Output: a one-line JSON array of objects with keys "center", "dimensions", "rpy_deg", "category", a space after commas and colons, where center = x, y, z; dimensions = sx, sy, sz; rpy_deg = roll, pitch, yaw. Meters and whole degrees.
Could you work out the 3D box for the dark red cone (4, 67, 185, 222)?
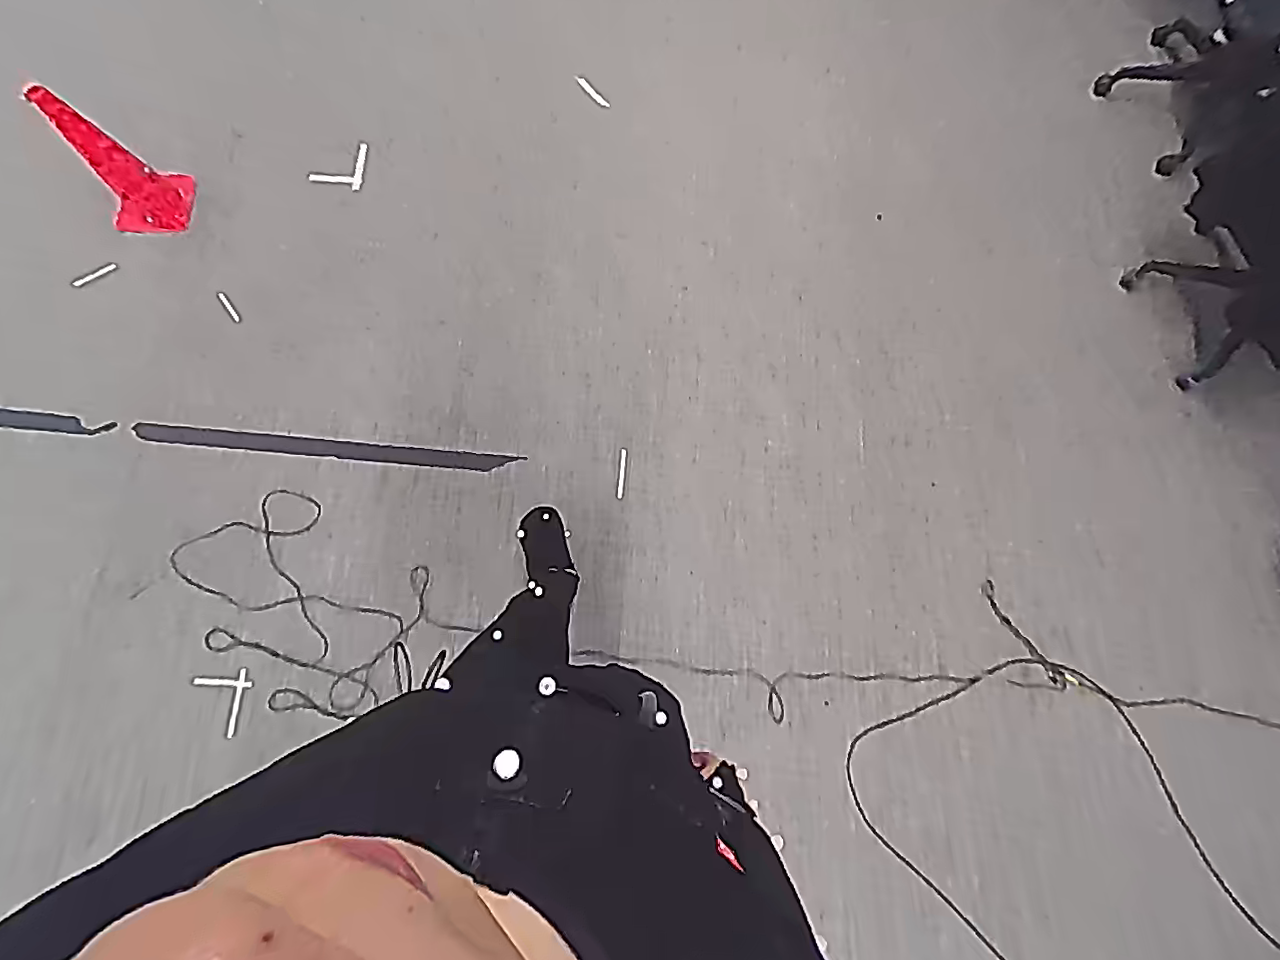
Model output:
[{"center": [-1.415, -0.866, 1.395], "dimensions": [0.202, 0.394, 0.201], "rpy_deg": [-3, 77, -4], "category": "dark red cone"}]
